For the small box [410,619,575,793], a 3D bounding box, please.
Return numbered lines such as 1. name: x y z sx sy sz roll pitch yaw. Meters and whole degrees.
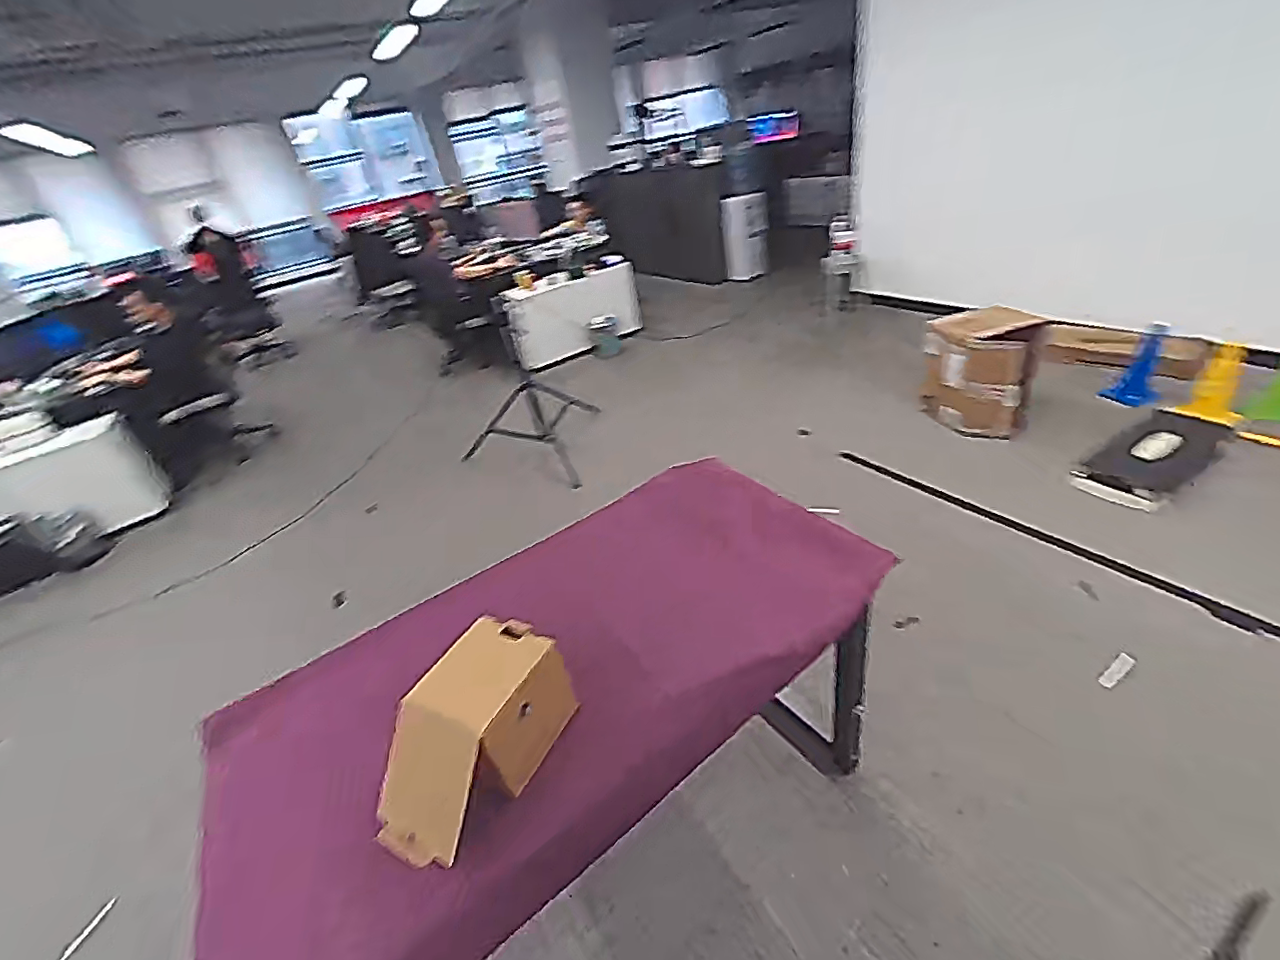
1. small box: -0.227 0.365 0.881 0.168 0.176 0.179 9 37 30
